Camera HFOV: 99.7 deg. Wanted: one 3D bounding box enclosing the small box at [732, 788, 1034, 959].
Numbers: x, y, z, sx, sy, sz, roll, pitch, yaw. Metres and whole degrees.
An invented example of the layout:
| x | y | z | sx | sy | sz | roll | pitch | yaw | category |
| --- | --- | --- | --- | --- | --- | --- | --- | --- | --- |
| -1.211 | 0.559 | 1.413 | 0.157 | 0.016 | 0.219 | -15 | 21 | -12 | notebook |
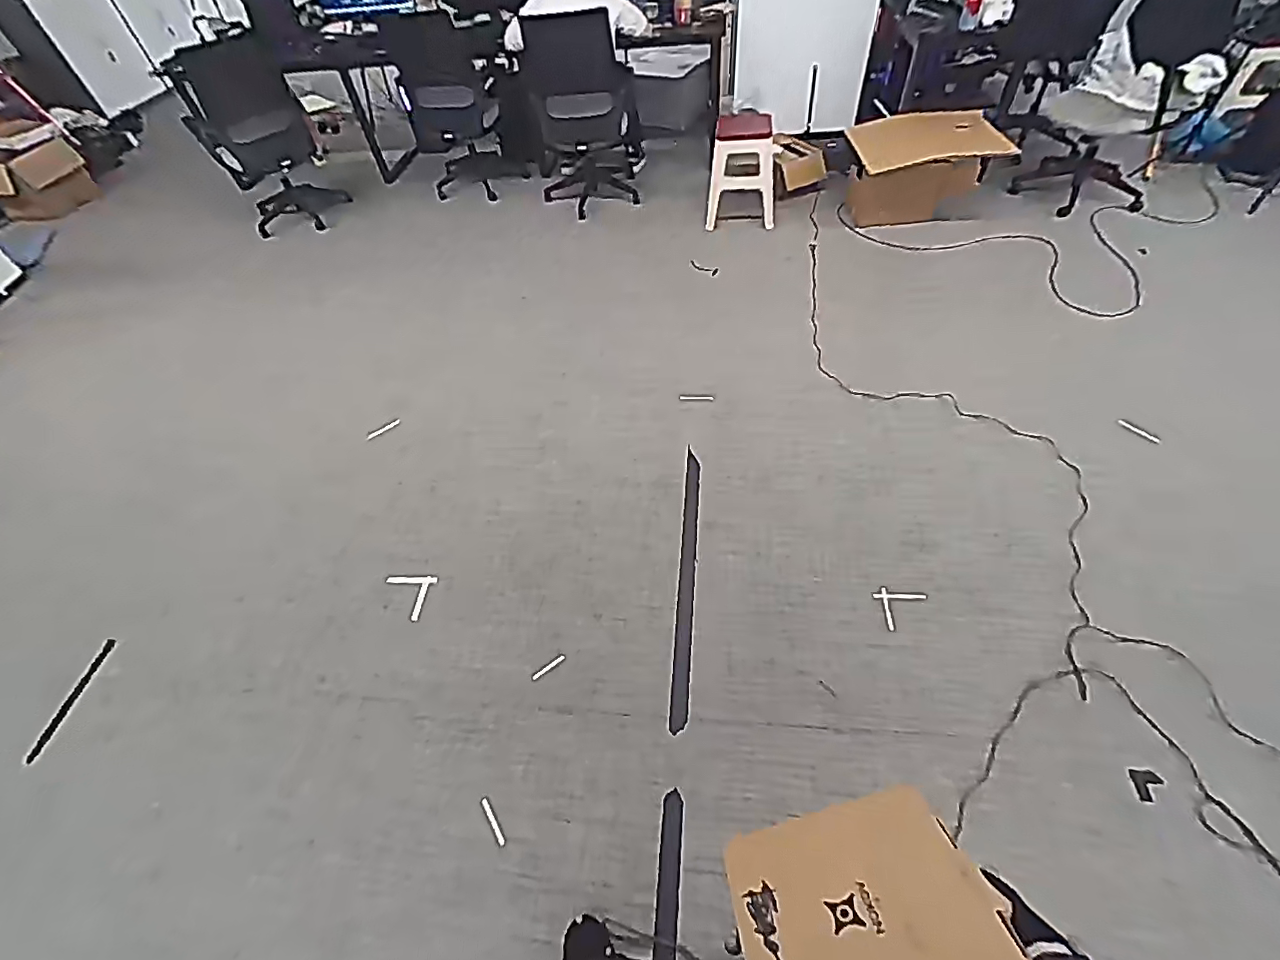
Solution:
| x | y | z | sx | sy | sz | roll | pitch | yaw | category |
| --- | --- | --- | --- | --- | --- | --- | --- | --- | --- |
| 0.188 | 0.386 | 0.413 | 0.179 | 0.176 | 0.168 | -19 | 13 | 3 | small box |
